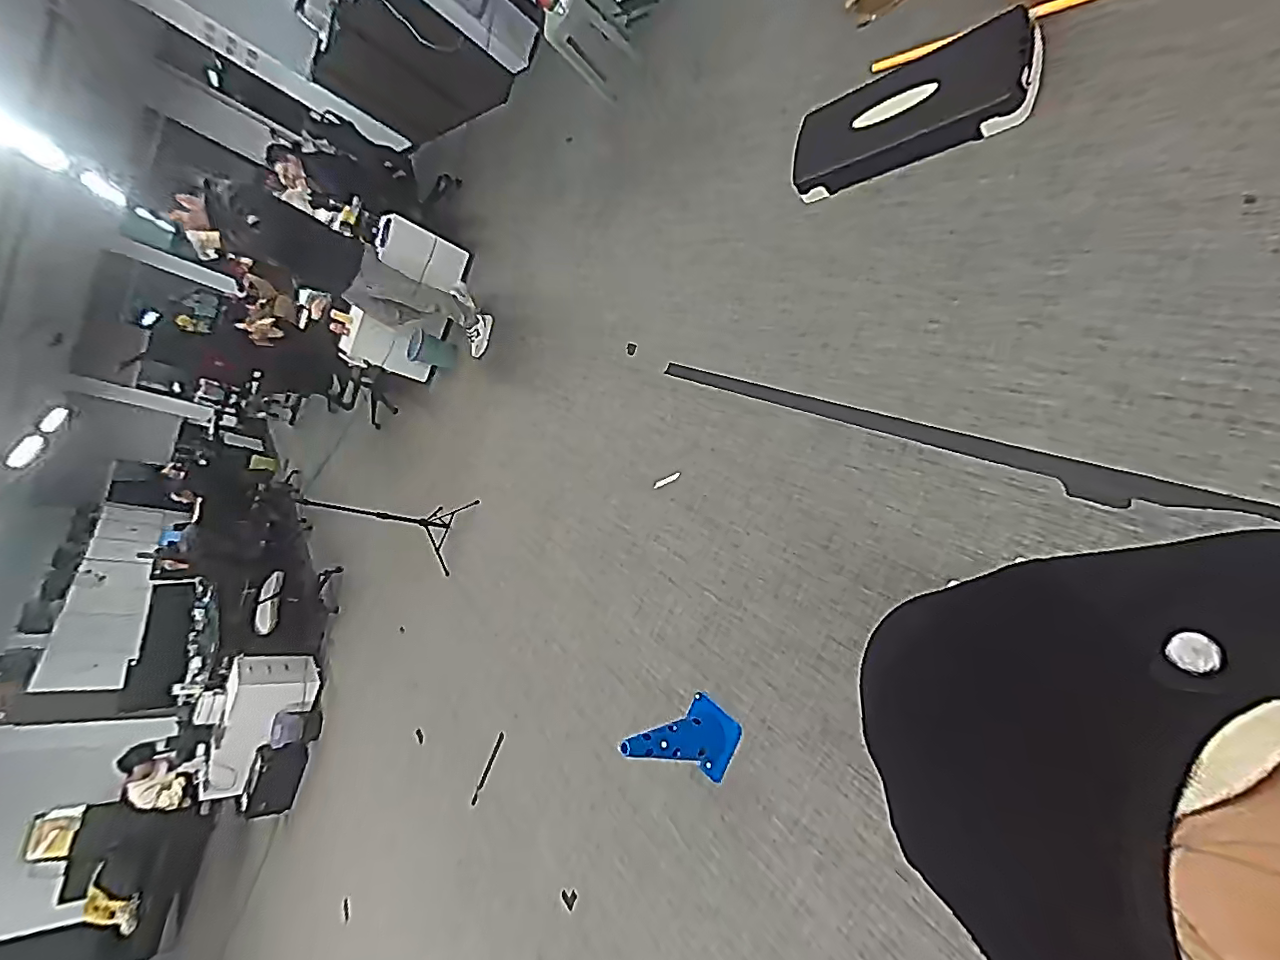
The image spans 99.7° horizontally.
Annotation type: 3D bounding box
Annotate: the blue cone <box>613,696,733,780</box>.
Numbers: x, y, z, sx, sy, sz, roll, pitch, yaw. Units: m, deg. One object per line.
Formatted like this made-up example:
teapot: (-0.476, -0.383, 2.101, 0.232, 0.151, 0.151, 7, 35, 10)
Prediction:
blue cone: (0.080, 0.767, 1.579, 0.192, 0.380, 0.193, 31, 101, 49)
